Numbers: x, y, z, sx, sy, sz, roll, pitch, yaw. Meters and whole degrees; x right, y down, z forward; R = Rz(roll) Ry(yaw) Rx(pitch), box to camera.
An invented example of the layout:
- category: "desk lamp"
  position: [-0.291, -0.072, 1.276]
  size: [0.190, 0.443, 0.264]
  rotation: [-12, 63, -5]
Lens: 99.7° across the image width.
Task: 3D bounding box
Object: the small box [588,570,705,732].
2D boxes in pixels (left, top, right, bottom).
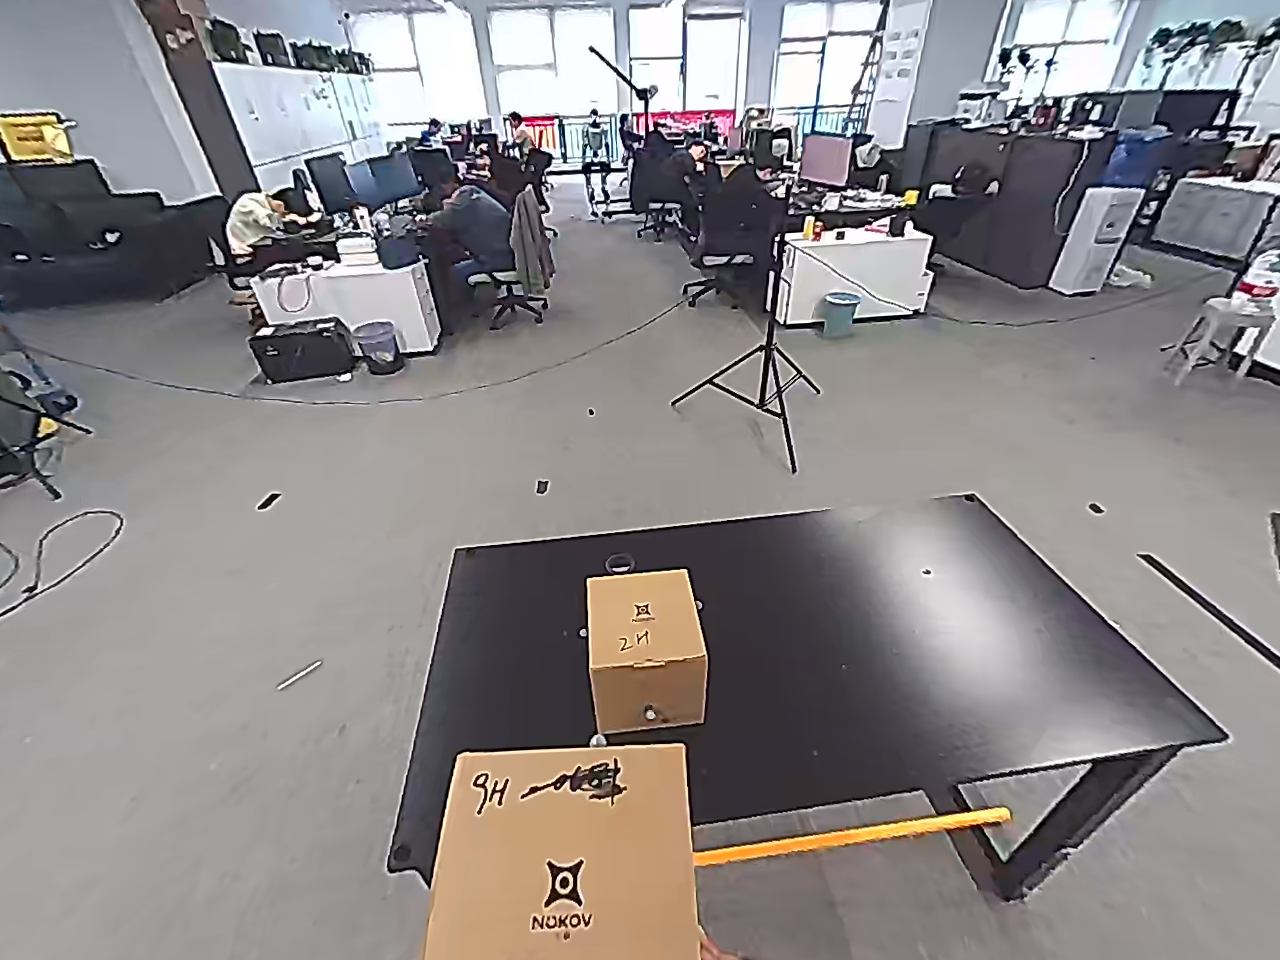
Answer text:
- category: "small box"
  position: [0.005, 0.270, 0.862]
  size: [0.168, 0.176, 0.179]
  rotation: [-5, 36, -3]

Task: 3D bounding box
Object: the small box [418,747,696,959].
- category: "small box"
  position: [-0.045, 0.312, 0.390]
  size: [0.168, 0.176, 0.179]
  rotation: [-4, 48, 1]
